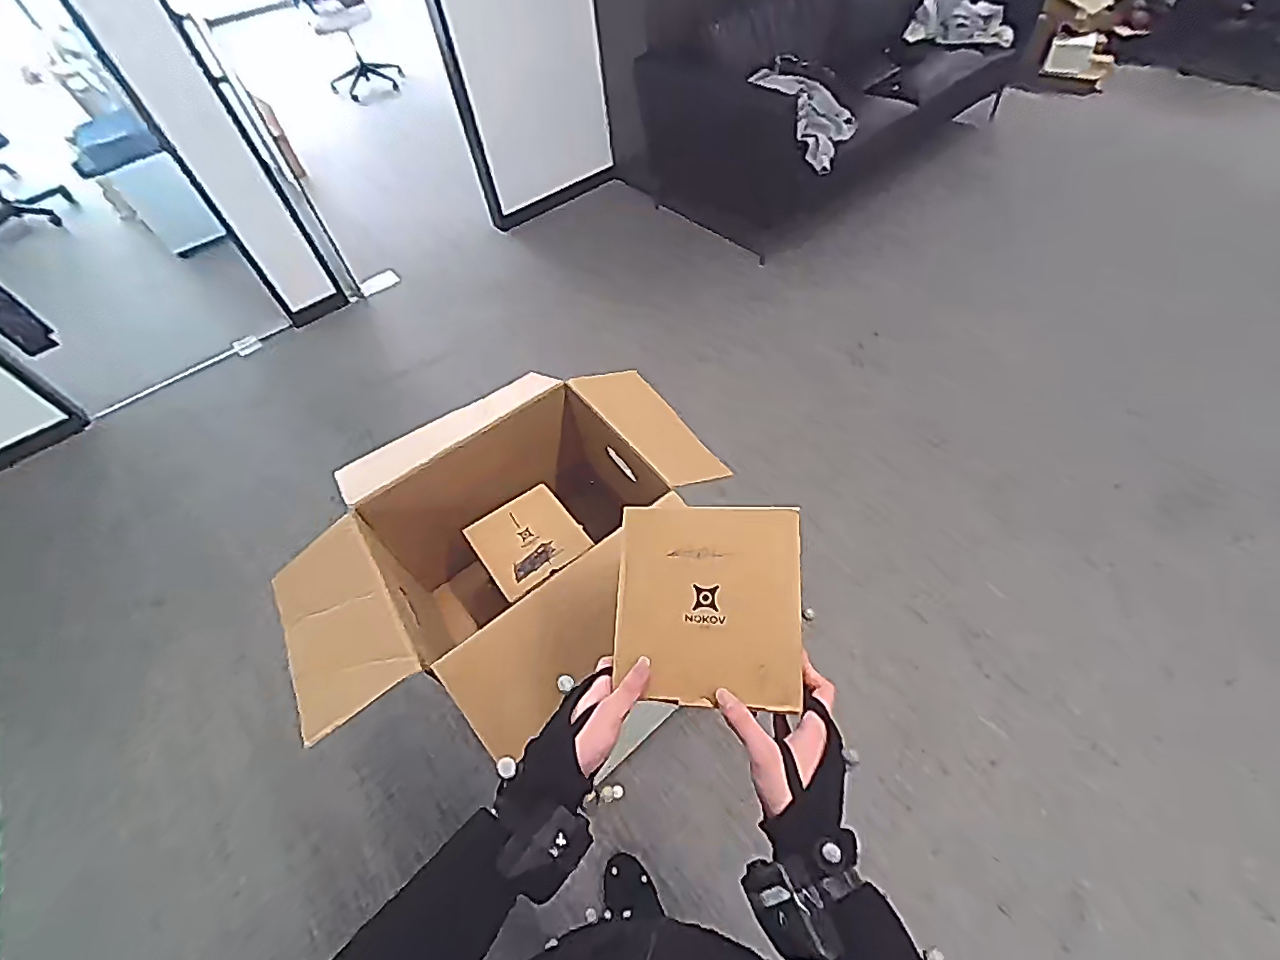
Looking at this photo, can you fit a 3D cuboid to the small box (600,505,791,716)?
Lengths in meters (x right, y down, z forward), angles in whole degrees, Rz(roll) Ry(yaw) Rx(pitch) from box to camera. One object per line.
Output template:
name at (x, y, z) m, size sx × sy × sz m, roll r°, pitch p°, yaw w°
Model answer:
small box at (0.066, 0.127, 0.545) m, size 0.168 × 0.176 × 0.179 m, roll -1°, pitch 74°, yaw 13°
